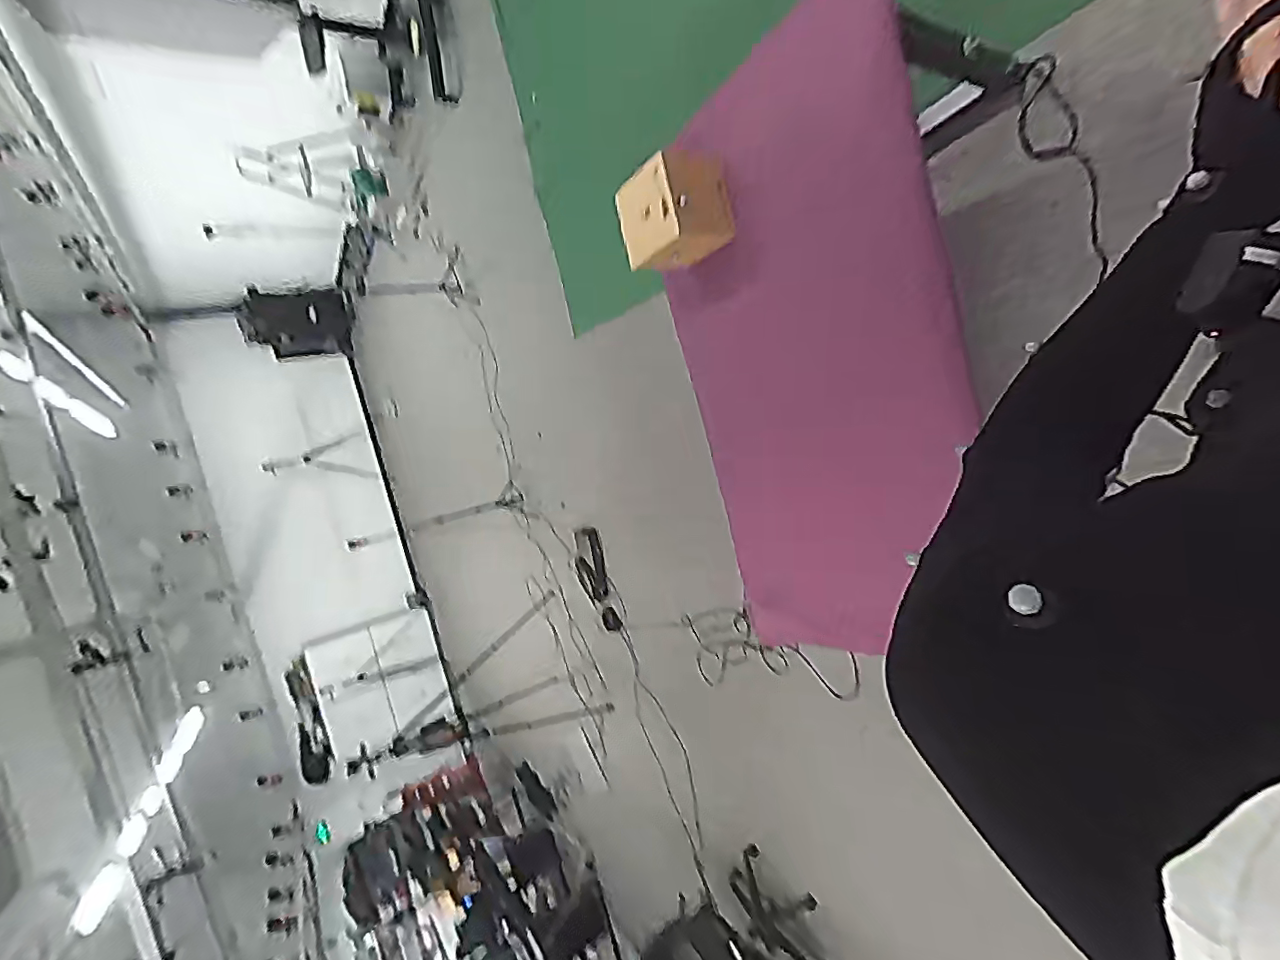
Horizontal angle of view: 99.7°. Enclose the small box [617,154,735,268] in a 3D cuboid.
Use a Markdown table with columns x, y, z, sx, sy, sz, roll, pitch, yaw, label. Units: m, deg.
| x | y | z | sx | sy | sz | roll | pitch | yaw | label |
| --- | --- | --- | --- | --- | --- | --- | --- | --- | --- |
| 0.078 | -0.577 | 1.180 | 0.179 | 0.176 | 0.168 | -8 | 98 | 56 | small box |
